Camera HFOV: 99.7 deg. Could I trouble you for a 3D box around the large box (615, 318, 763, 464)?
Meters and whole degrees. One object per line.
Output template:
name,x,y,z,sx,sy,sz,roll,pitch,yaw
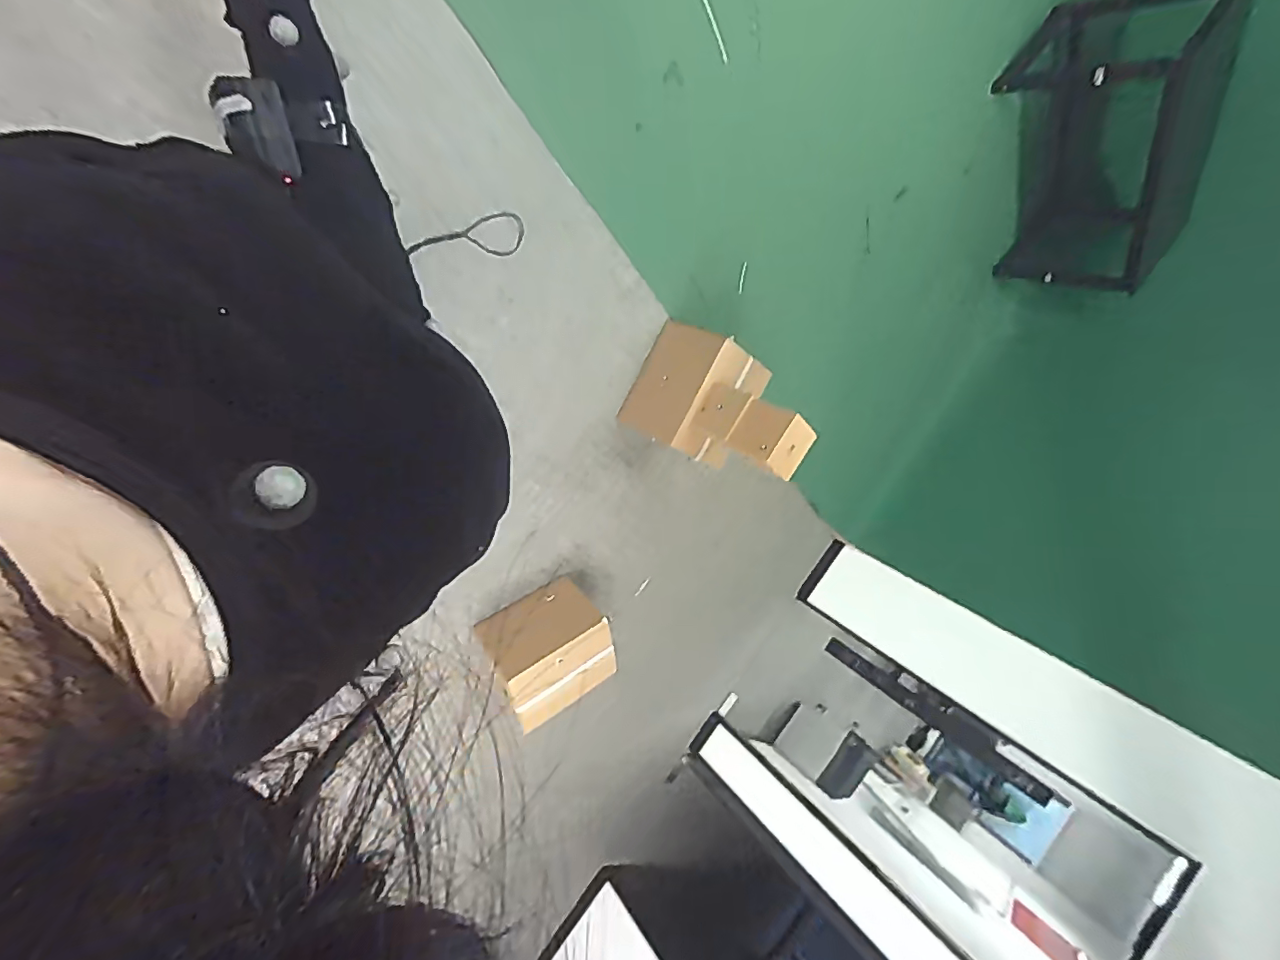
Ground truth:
large box,0.175,-0.323,1.980,0.320,0.320,0.408,21,98,-48

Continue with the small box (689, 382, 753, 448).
small box,0.295,-0.209,1.793,0.179,0.176,0.168,29,94,-47

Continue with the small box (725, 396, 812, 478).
small box,0.397,-0.138,1.688,0.168,0.176,0.179,31,93,-47
